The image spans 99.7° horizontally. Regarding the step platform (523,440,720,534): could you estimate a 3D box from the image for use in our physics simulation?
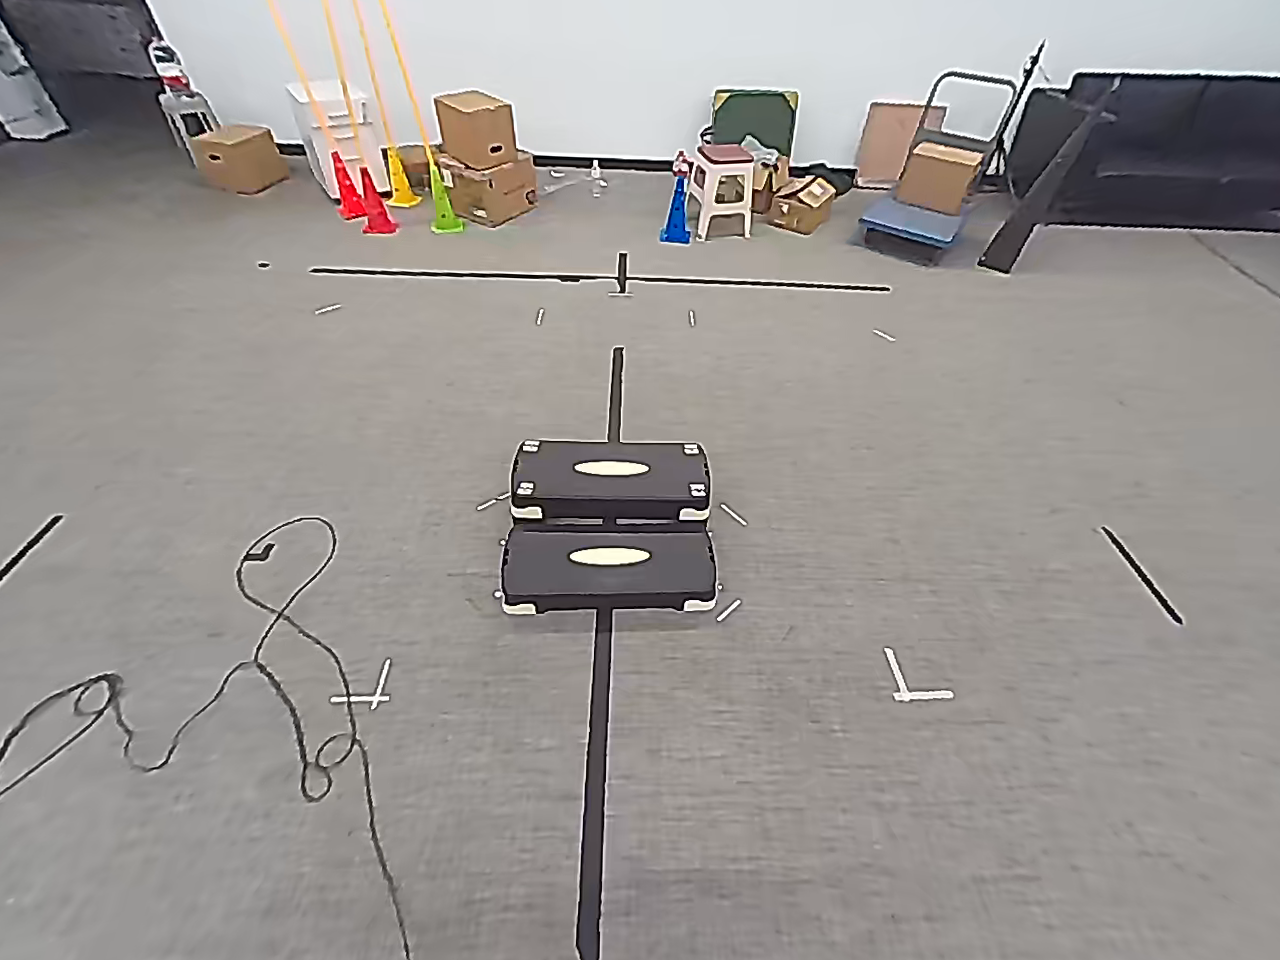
[{"bbox_3d":[-0.064,0.021,1.903,0.684,0.204,0.286,1,47,-4],"label":"step platform"}]
